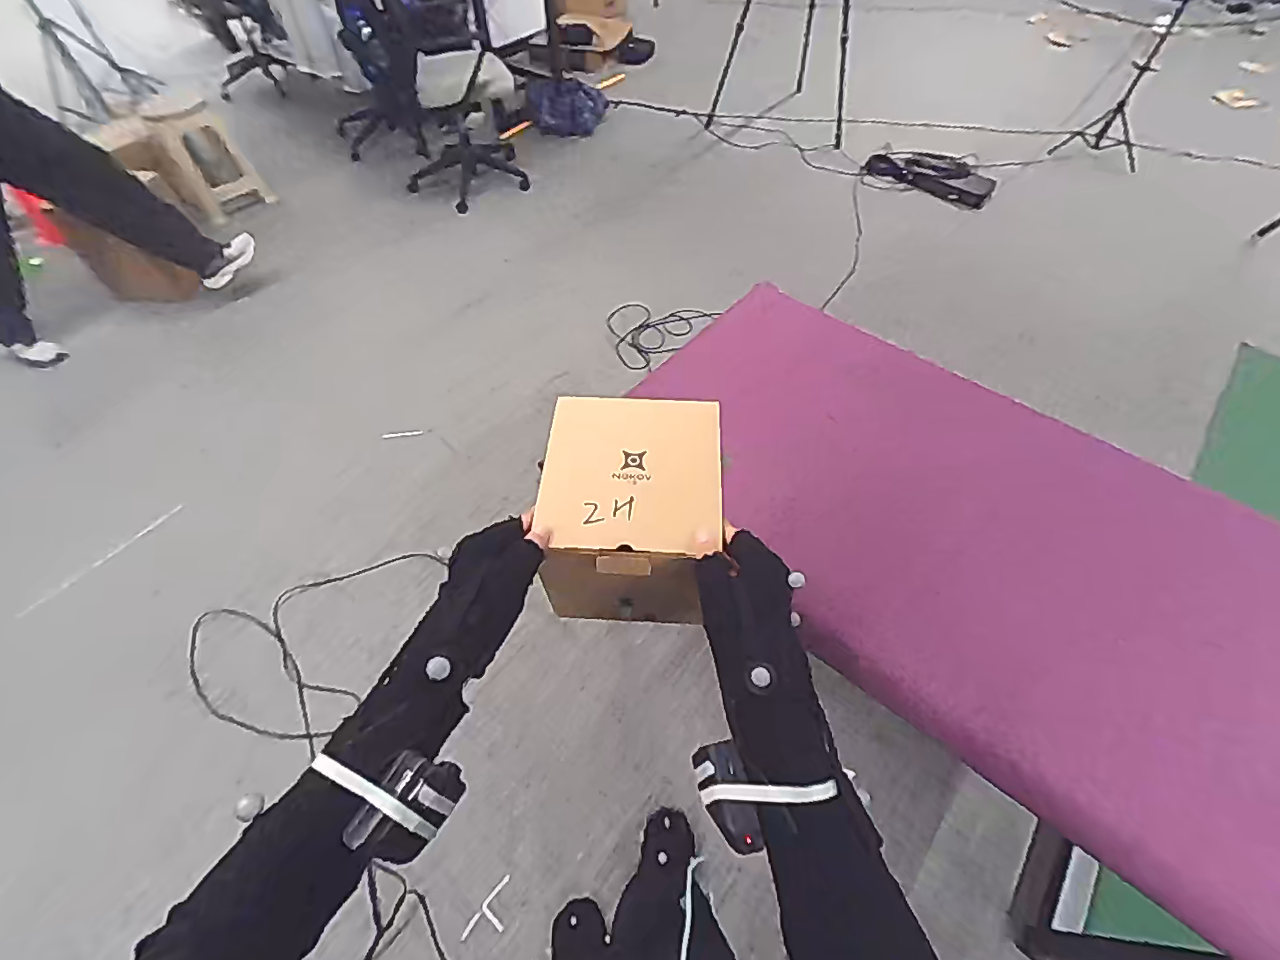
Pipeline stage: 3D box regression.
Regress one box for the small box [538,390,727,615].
[{"bbox_3d":[0.000,0.026,0.572,0.168,0.176,0.179,1,55,4],"label":"small box"}]
